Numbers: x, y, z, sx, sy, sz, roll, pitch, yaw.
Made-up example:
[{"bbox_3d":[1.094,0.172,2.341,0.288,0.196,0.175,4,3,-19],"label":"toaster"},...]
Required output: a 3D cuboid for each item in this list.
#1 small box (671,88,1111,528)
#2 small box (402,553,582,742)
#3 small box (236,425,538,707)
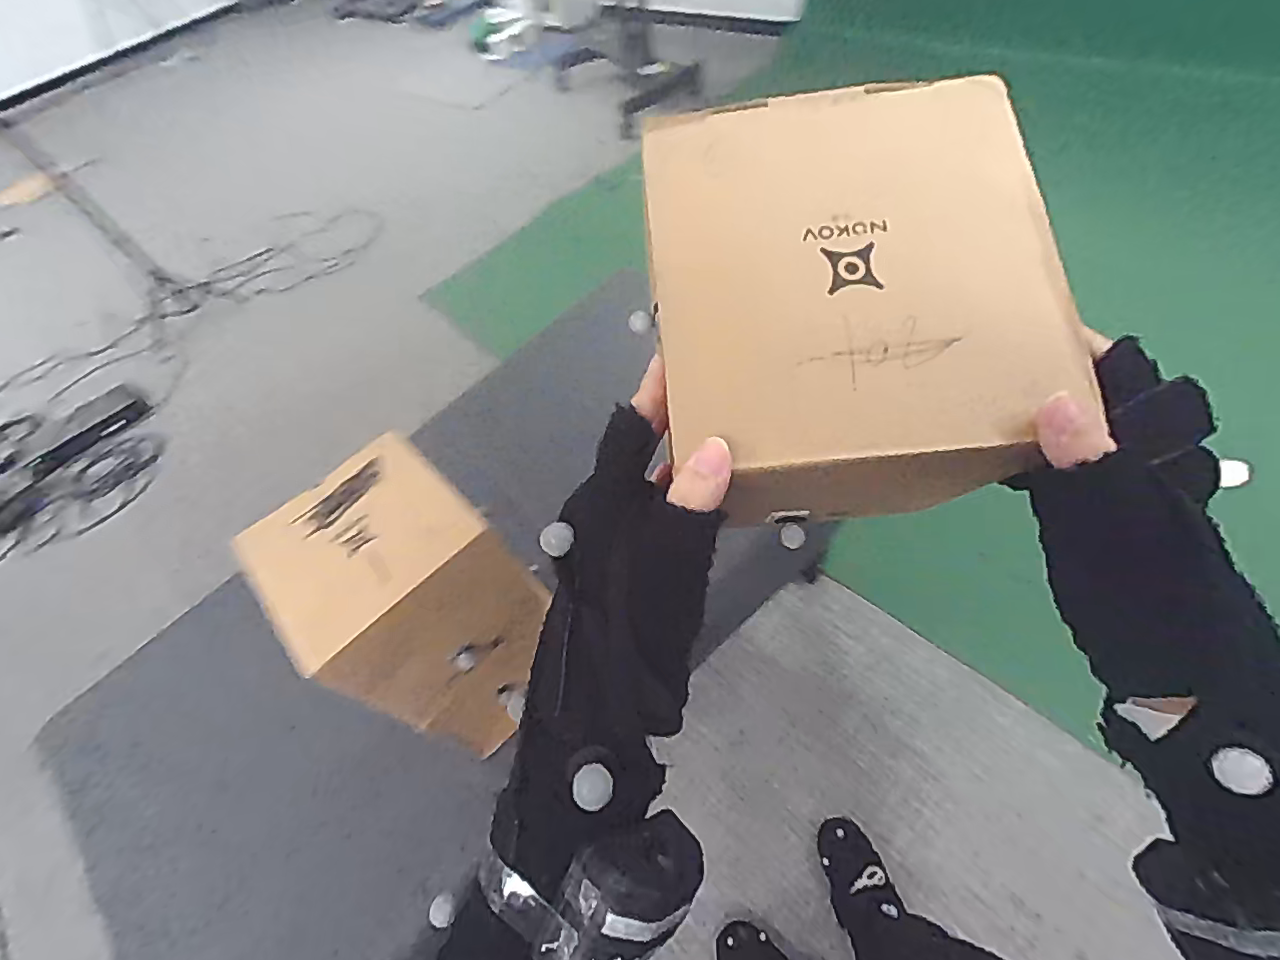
[{"bbox_3d":[0.102,-0.073,0.309,0.168,0.176,0.179,-3,77,4],"label":"small box"},{"bbox_3d":[-0.196,0.182,0.651,0.179,0.176,0.168,-42,58,-18],"label":"small box"},{"bbox_3d":[-0.228,0.086,0.521,0.168,0.176,0.179,-41,58,-18],"label":"small box"}]
